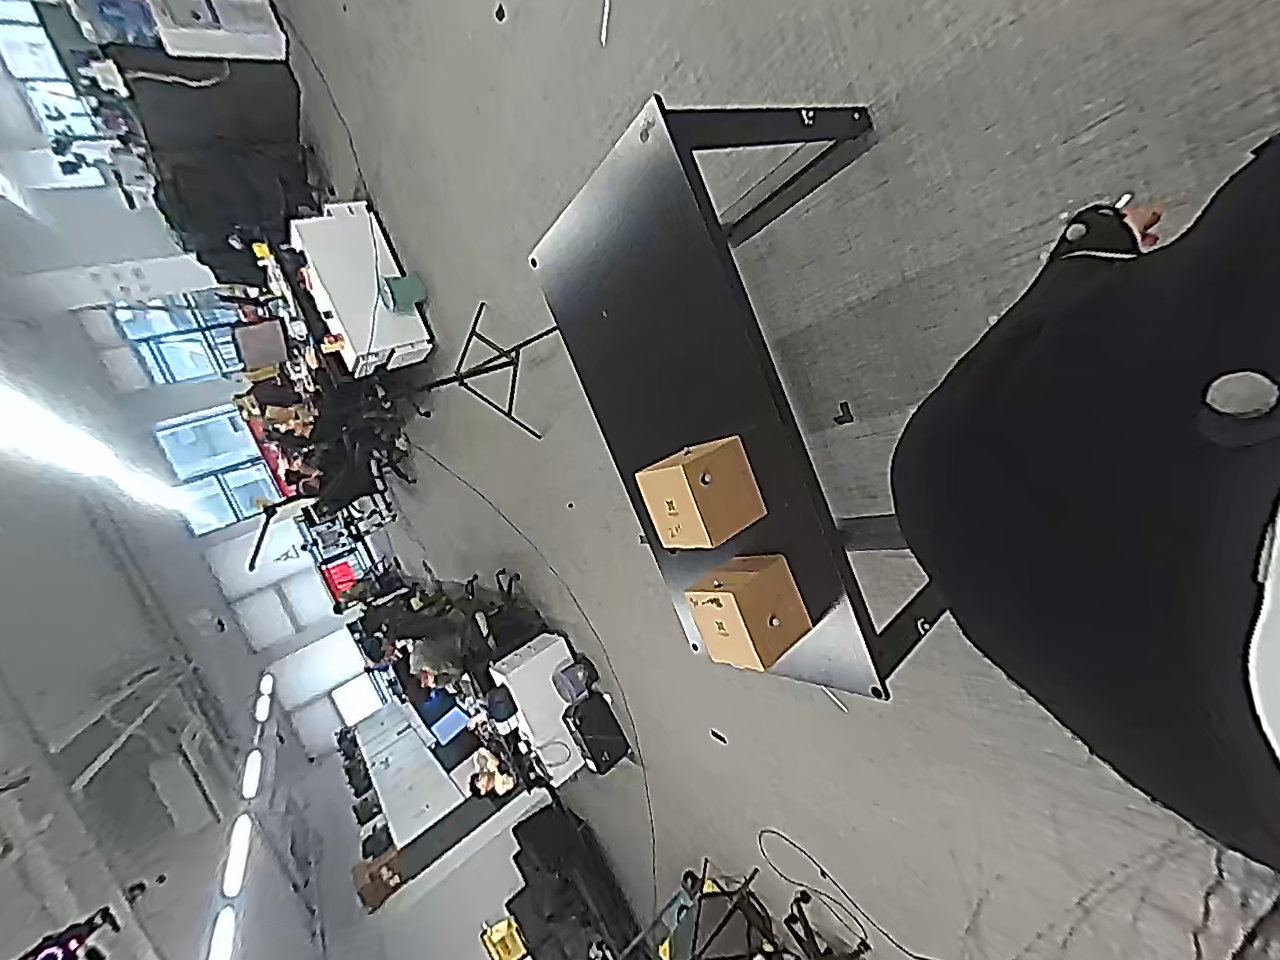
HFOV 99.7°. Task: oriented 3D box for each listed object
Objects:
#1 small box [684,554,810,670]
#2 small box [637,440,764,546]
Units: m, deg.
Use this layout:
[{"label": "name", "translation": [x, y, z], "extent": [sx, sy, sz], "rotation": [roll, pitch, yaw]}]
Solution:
[{"label": "small box", "translation": [0.233, 0.275, 1.162], "extent": [0.168, 0.176, 0.179], "rotation": [-17, 99, 57]}, {"label": "small box", "translation": [0.128, 0.025, 1.132], "extent": [0.168, 0.176, 0.179], "rotation": [-10, 104, 57]}]
